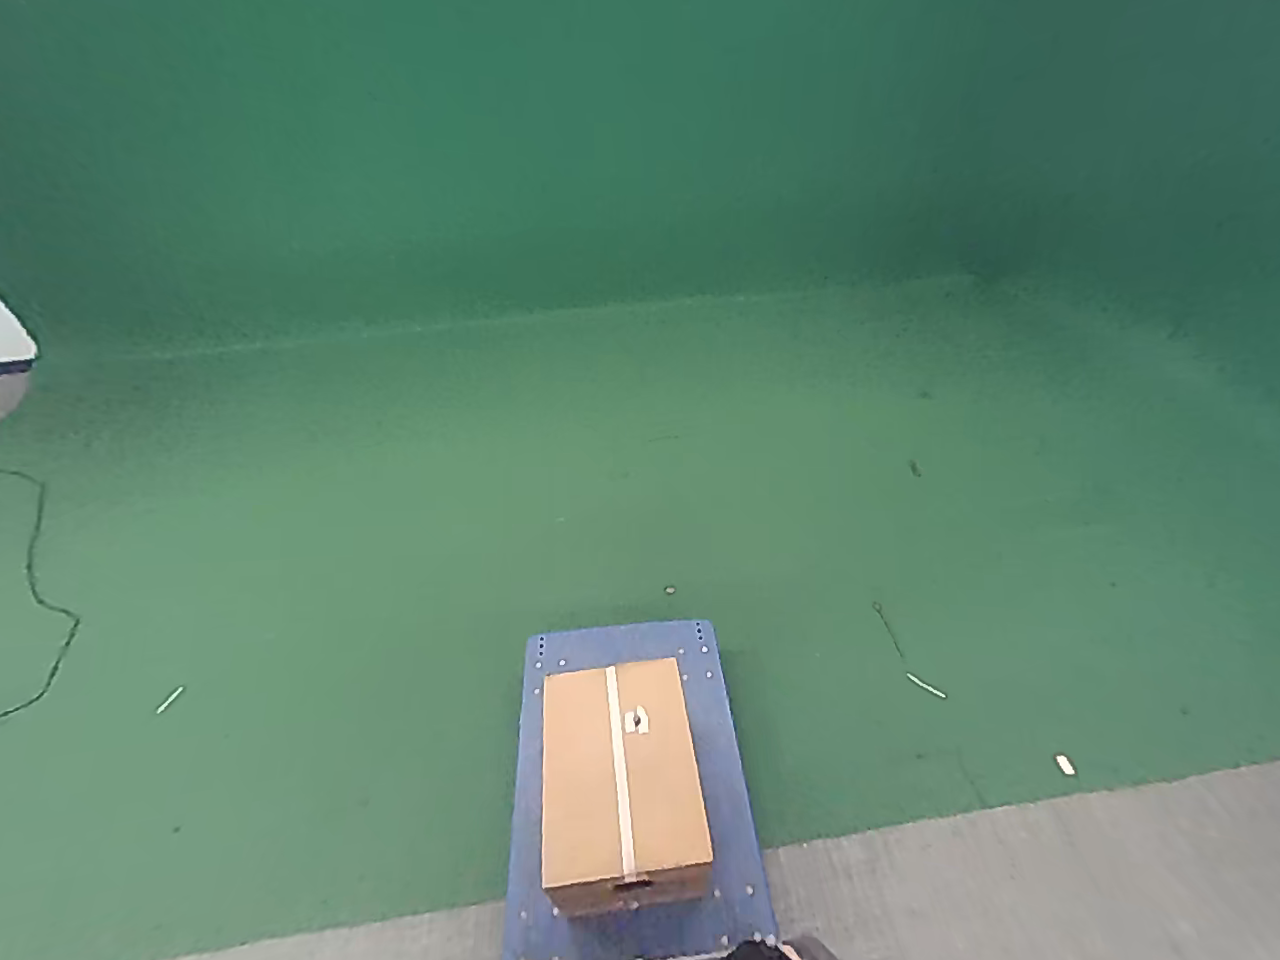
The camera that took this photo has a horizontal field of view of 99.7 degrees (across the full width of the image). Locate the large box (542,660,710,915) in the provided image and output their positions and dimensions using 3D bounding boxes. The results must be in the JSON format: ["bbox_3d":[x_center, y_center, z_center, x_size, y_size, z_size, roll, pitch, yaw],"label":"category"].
[{"bbox_3d":[-0.039,0.684,1.221,0.320,0.320,0.408,-7,43,-3],"label":"large box"}]
